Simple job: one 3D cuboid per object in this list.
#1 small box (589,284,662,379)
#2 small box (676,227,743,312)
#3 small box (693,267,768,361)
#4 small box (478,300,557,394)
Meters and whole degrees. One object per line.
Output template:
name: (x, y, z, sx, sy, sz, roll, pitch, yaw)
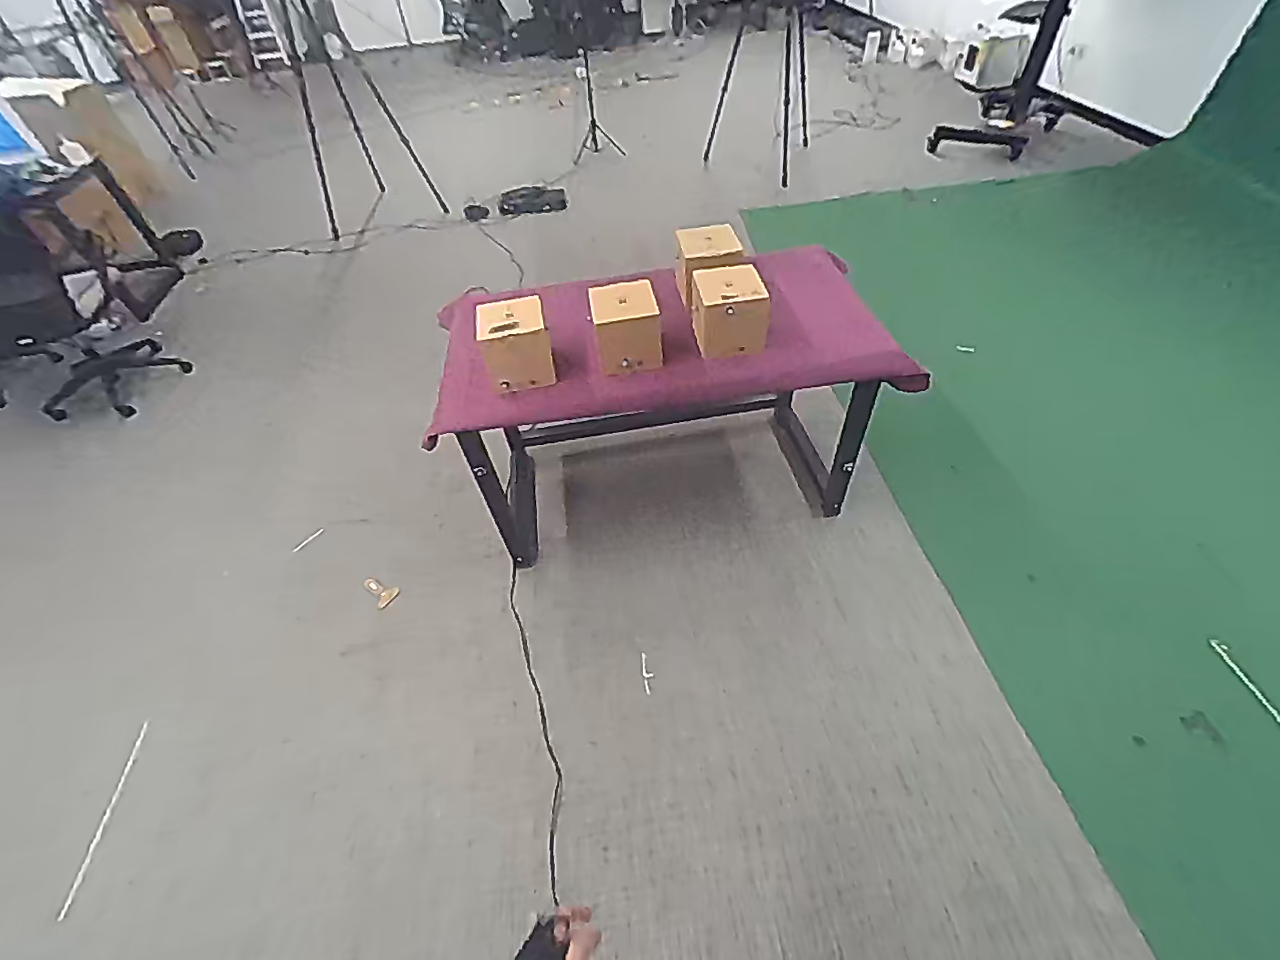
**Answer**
small box: (-0.038, -0.393, 1.437, 0.168, 0.176, 0.179, -10, 49, -1)
small box: (0.201, -0.625, 1.608, 0.168, 0.176, 0.179, -9, 49, 0)
small box: (0.235, -0.442, 1.444, 0.168, 0.176, 0.179, -8, 48, 0)
small box: (-0.319, -0.342, 1.421, 0.168, 0.176, 0.179, -12, 47, -4)
